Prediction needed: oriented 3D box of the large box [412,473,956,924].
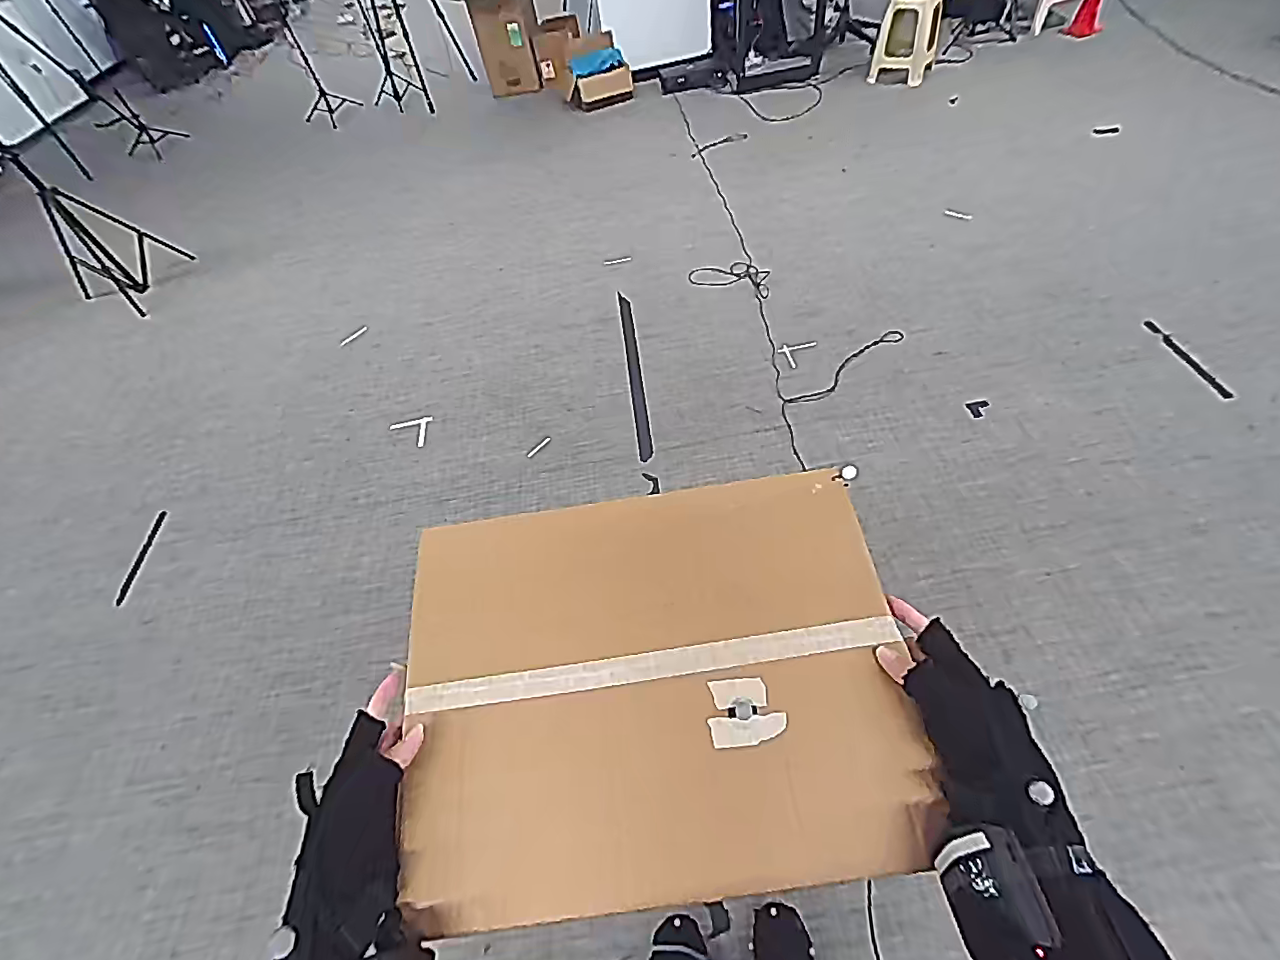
[{"bbox_3d":[0.022,0.228,0.586,0.408,0.320,0.320,-8,60,0],"label":"large box"}]
